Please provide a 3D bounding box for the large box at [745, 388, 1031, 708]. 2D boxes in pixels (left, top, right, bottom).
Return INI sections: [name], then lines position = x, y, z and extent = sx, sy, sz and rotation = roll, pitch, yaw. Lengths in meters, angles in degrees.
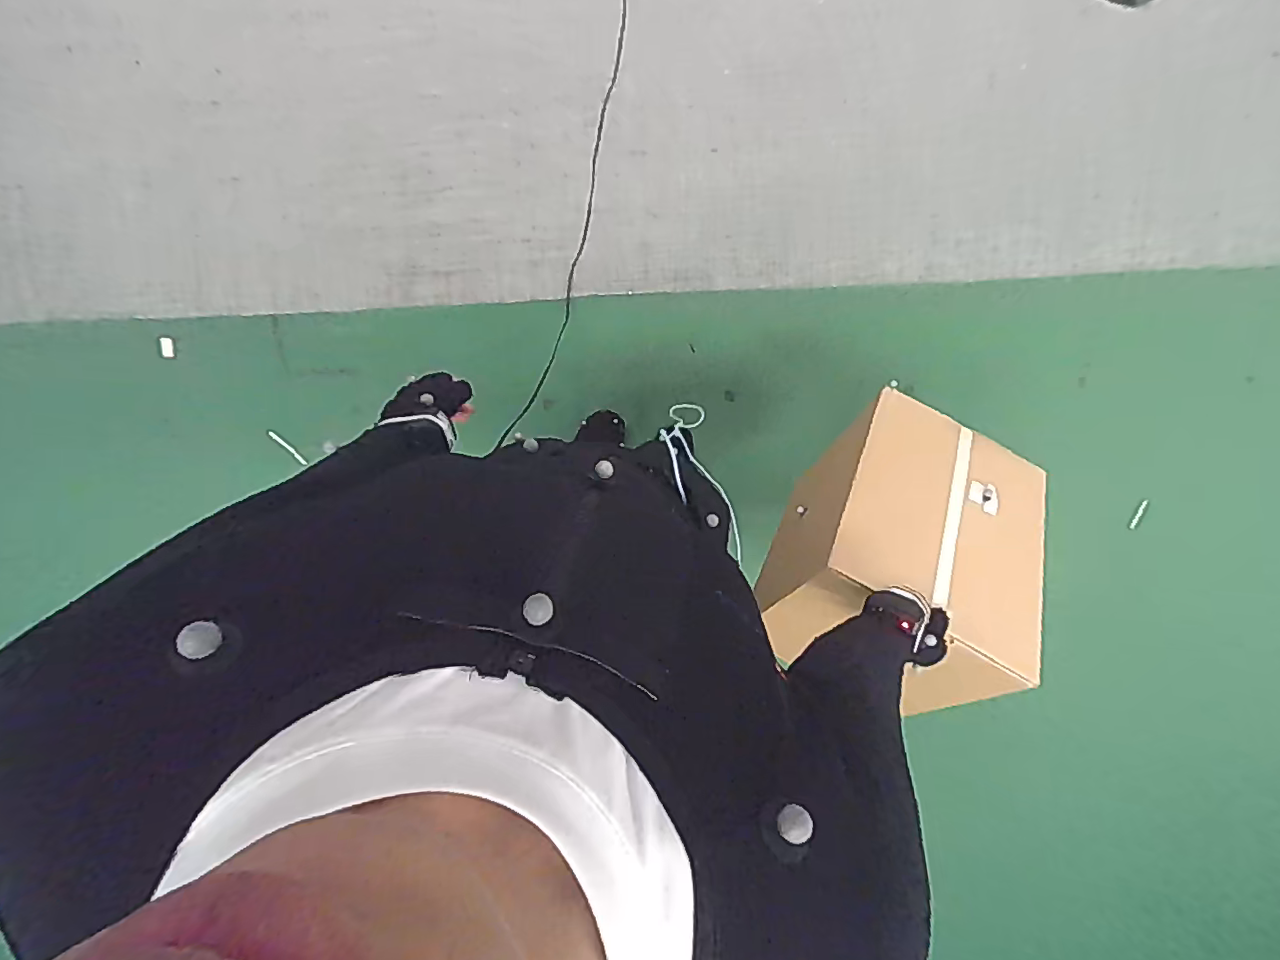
[large box]
position = 0.434, 0.125, 0.964
extent = 0.320, 0.320, 0.408
rotation = 30, 55, 3
